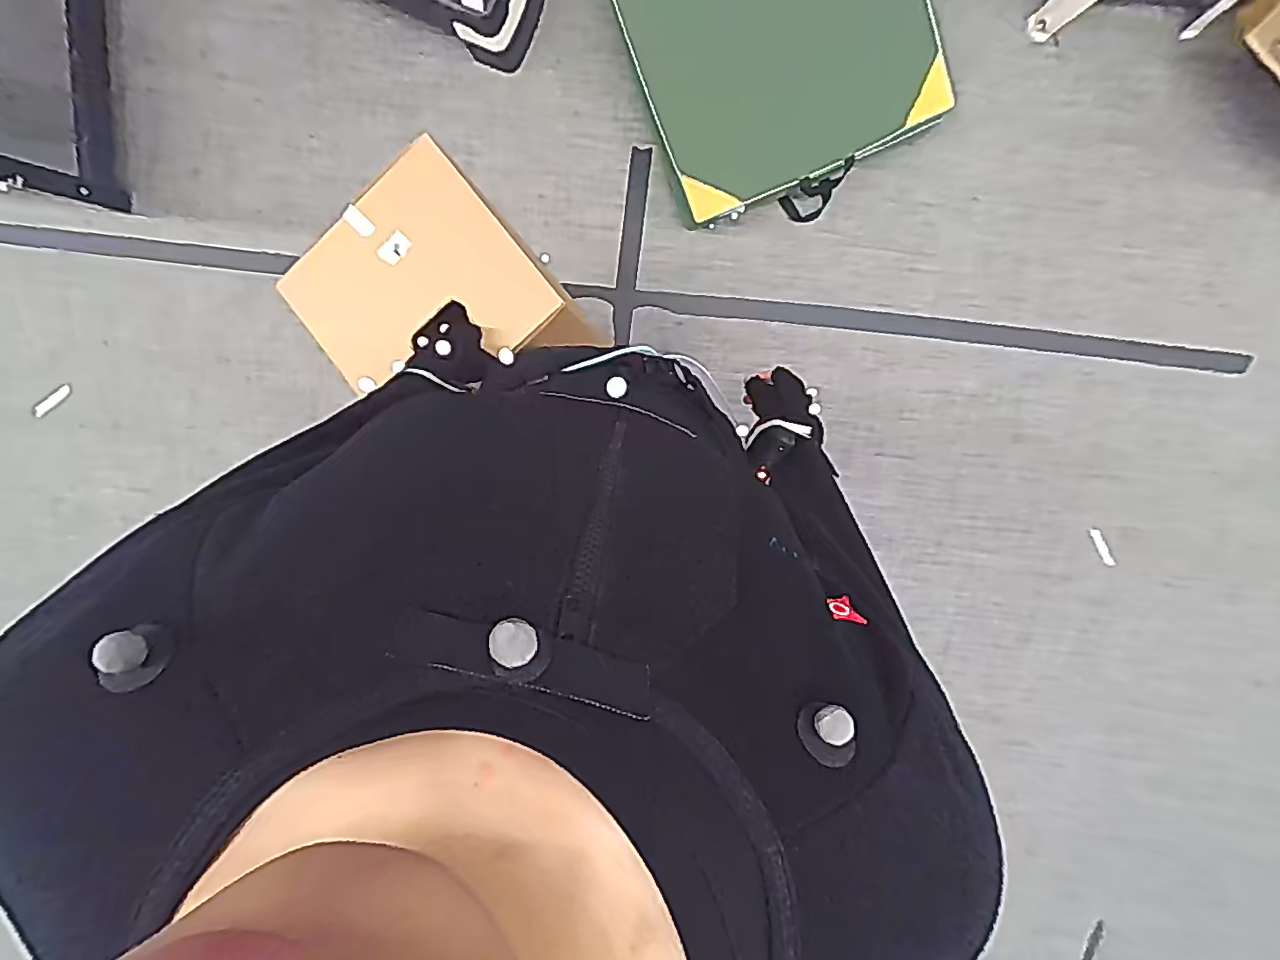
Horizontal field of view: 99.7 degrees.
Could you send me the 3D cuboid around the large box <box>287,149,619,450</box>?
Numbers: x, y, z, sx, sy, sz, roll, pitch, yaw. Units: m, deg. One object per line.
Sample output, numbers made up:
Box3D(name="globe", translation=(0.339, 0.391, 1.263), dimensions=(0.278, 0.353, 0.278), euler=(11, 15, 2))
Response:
Box3D(name="large box", translation=(-0.286, -0.266, 0.950), dimensions=(0.320, 0.408, 0.320), euler=(-38, 86, 9))
